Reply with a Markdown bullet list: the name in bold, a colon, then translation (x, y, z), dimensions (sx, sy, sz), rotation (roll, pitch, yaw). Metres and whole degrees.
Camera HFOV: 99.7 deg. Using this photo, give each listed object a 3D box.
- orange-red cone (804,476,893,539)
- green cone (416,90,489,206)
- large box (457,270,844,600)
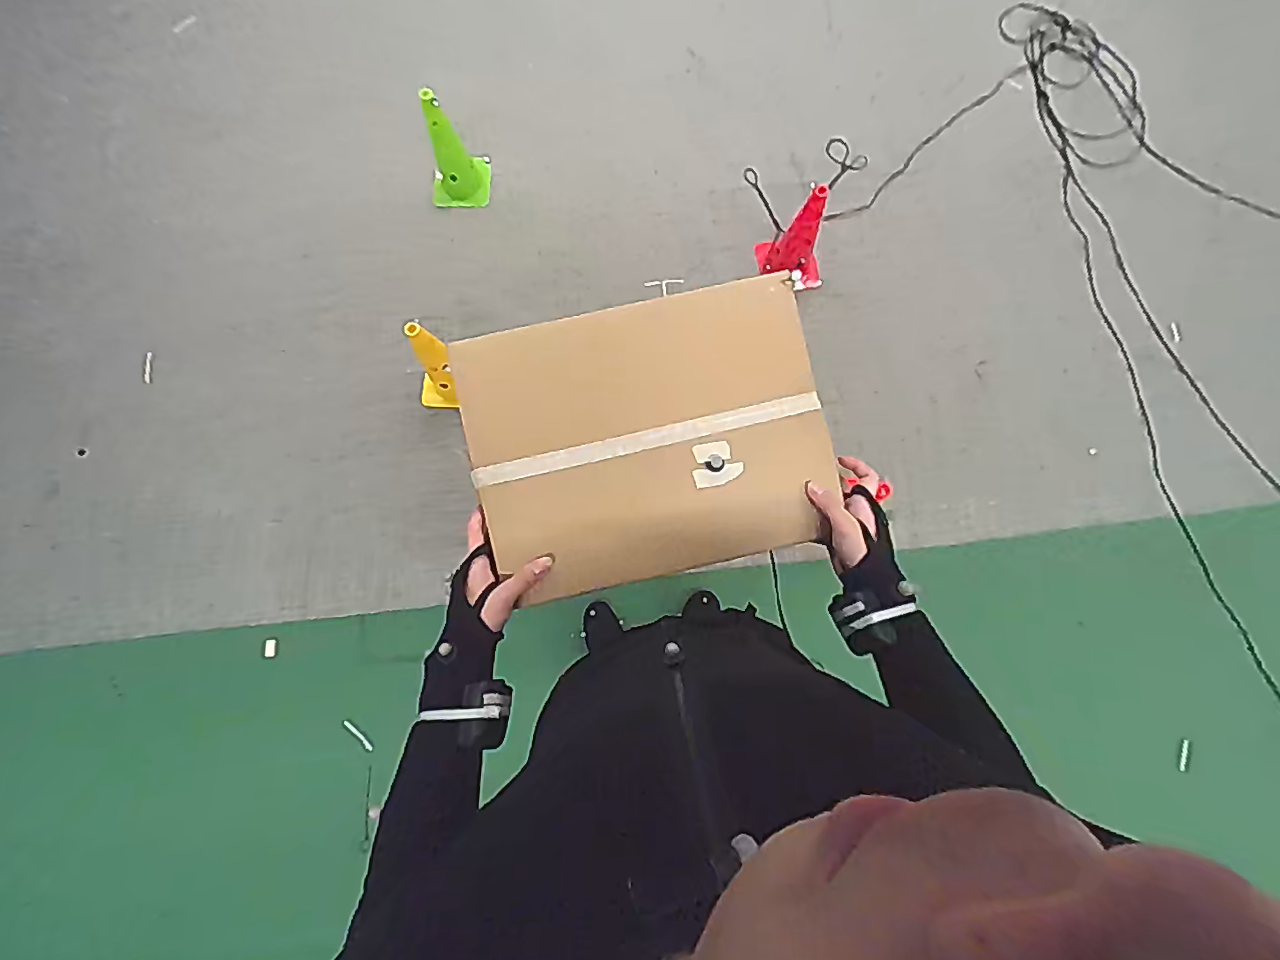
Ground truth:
- **orange-red cone**: translation (0.614, 0.052, 1.527), dimensions (0.199, 0.360, 0.198), rotation (1, 79, -2)
- **green cone**: translation (-0.643, -1.102, 1.762), dimensions (0.200, 0.368, 0.202), rotation (-1, 80, 0)
- **large box**: translation (0.007, -0.049, 0.775), dimensions (0.408, 0.320, 0.320), rotation (-13, 89, -2)
